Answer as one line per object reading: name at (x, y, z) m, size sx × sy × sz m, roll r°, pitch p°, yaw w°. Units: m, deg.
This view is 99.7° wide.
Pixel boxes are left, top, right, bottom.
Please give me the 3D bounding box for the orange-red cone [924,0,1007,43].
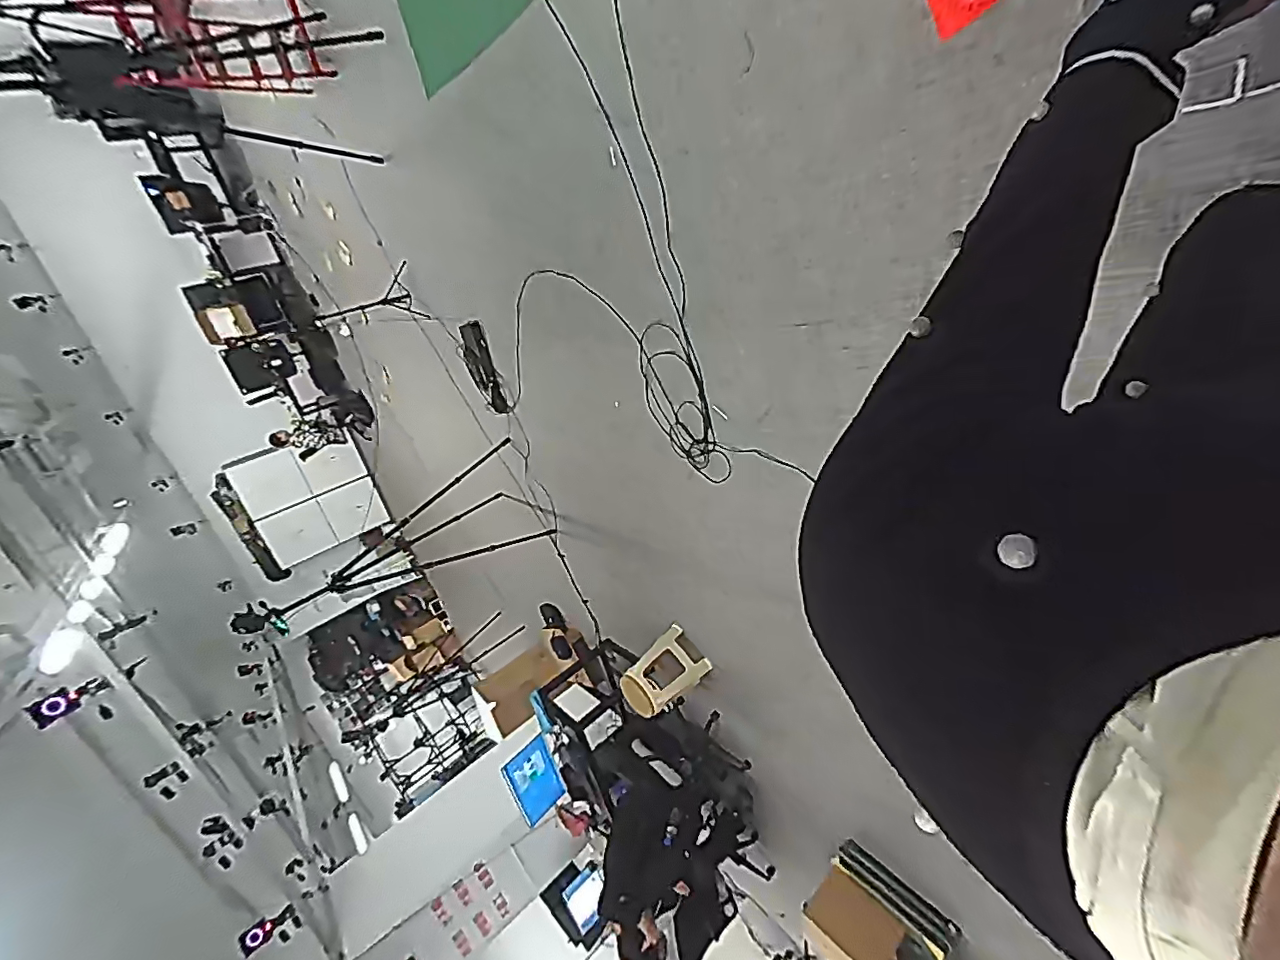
orange-red cone at (0.569, -1.004, 1.045) m, size 0.199 × 0.360 × 0.198 m, roll -8°, pitch 108°, yaw 57°
